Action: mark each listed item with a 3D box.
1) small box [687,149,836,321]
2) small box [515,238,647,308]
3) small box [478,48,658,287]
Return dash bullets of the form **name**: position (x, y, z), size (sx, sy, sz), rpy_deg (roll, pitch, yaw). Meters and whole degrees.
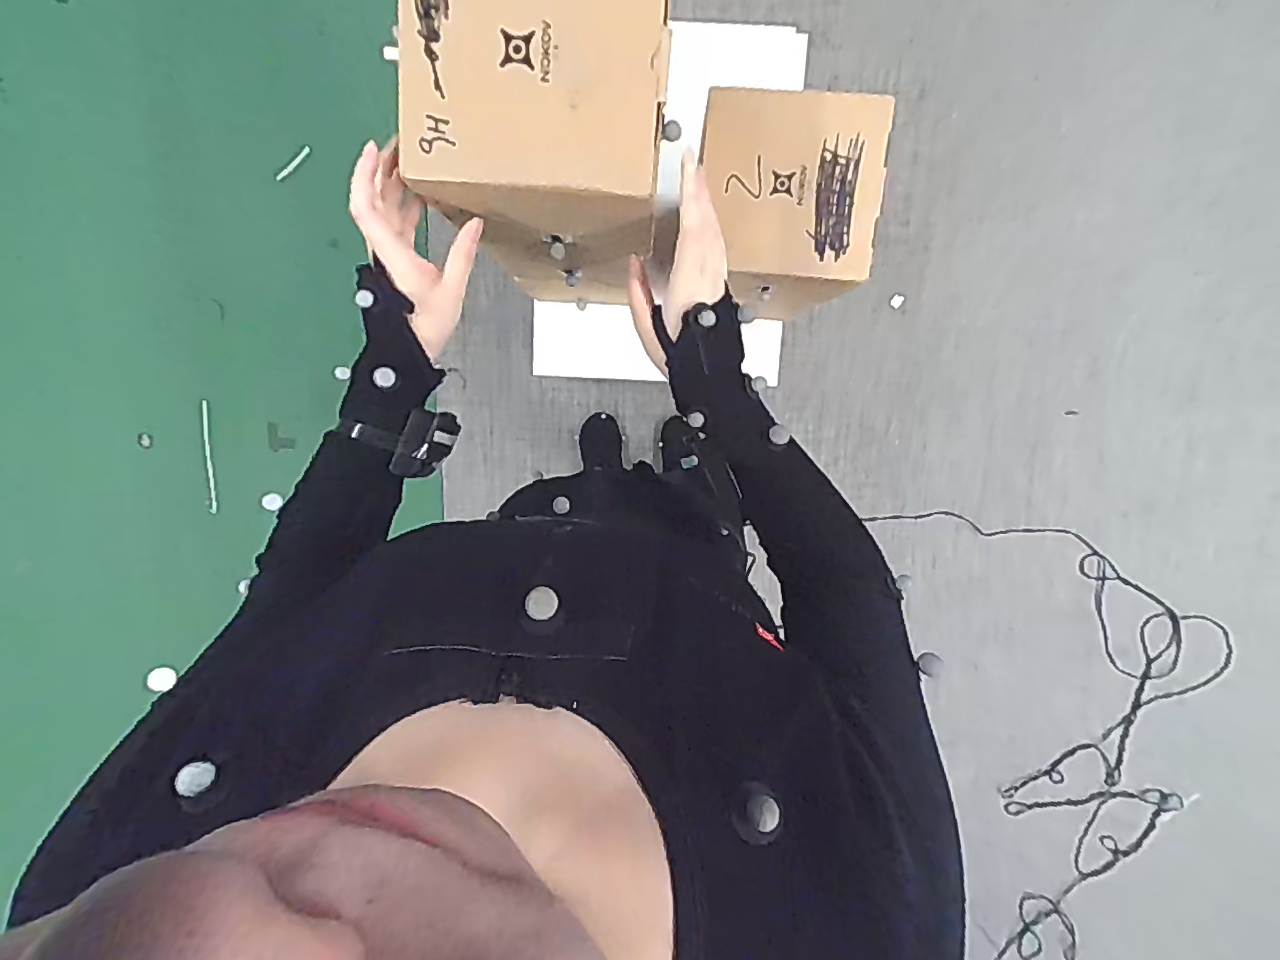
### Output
- **small box**: position (0.157, -0.329, 0.758), size (0.168, 0.176, 0.179), rpy_deg (5, 100, 2)
- **small box**: position (-0.074, -0.348, 0.760), size (0.168, 0.176, 0.179), rpy_deg (3, 101, 0)
- **small box**: position (-0.071, -0.325, 0.597), size (0.168, 0.176, 0.179), rpy_deg (4, 100, 0)
